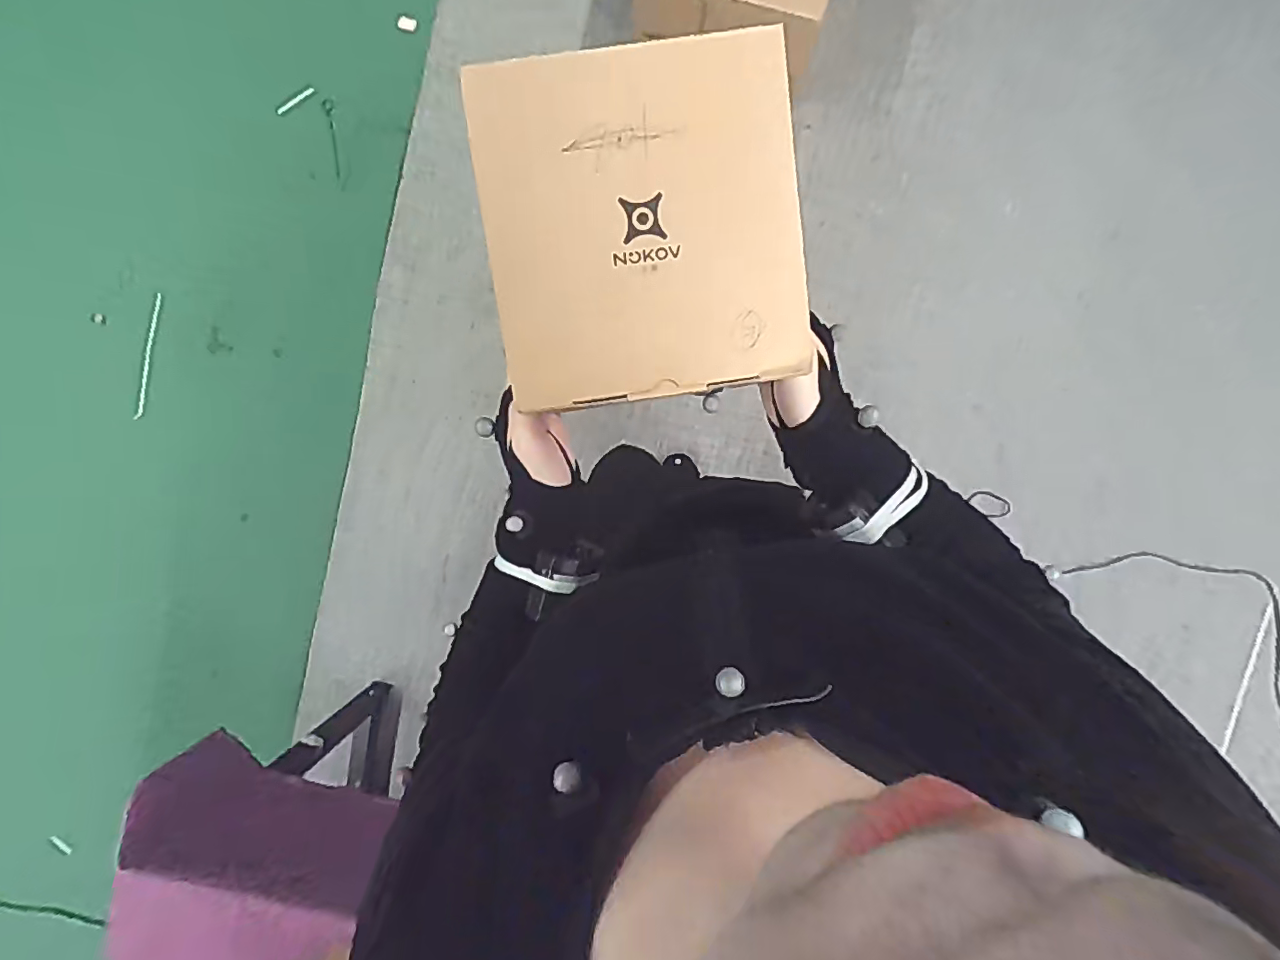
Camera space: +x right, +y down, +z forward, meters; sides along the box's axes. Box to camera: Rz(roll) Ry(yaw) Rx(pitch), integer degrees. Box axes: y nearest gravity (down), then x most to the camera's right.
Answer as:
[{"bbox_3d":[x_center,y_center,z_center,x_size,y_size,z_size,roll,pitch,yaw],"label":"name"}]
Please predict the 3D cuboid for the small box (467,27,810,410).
[{"bbox_3d":[0.002,-0.144,0.361,0.168,0.176,0.179,-7,97,-1],"label":"small box"}]
